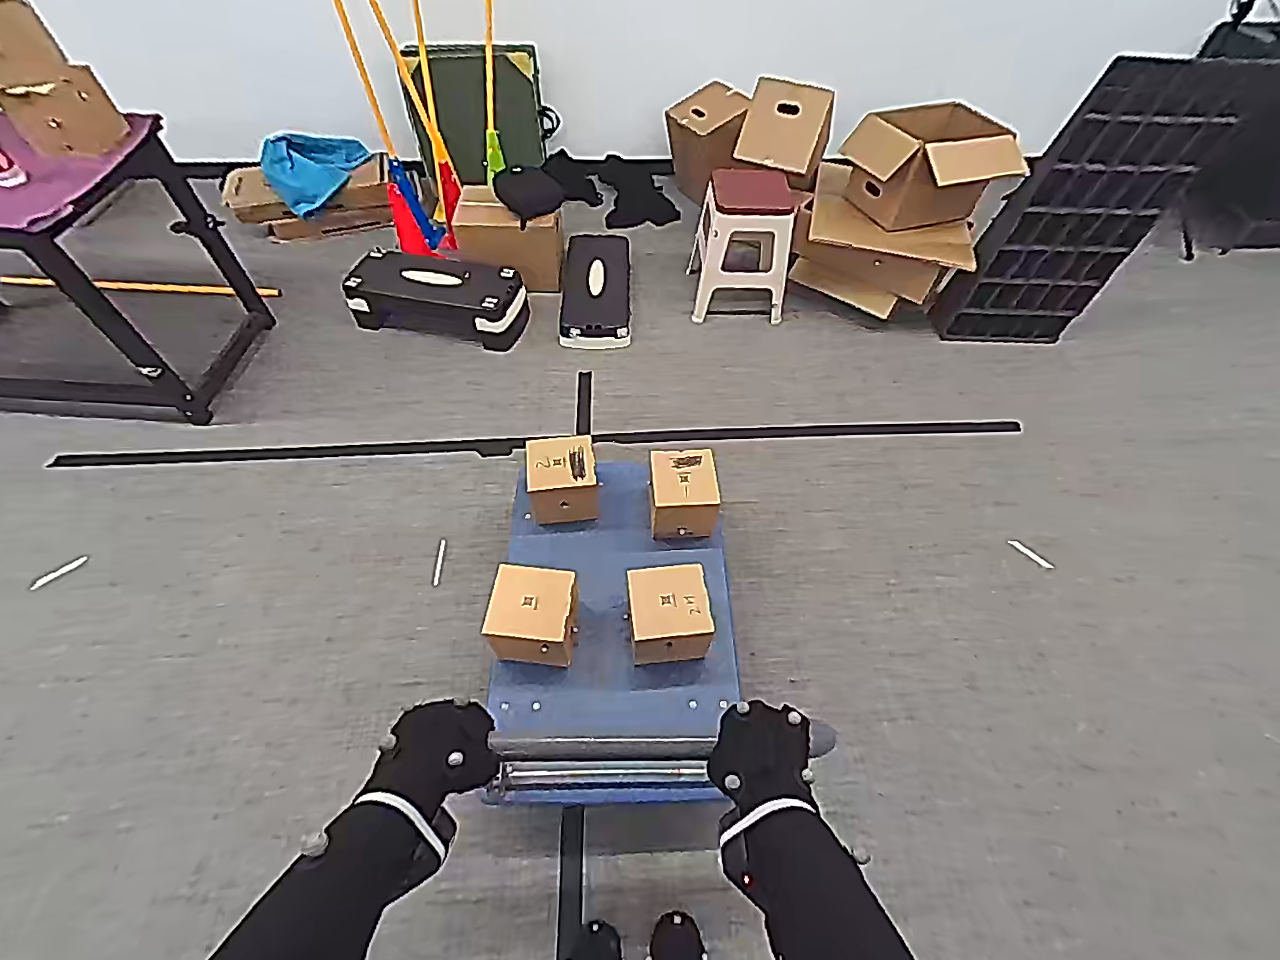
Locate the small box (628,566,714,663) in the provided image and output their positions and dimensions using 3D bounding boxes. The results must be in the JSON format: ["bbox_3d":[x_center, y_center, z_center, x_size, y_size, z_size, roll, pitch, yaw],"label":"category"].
[{"bbox_3d":[0.066,0.318,1.259,0.179,0.176,0.168,-4,55,-5],"label":"small box"}]

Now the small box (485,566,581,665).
[{"bbox_3d":[-0.238,0.316,1.250,0.179,0.176,0.168,6,54,1],"label":"small box"}]

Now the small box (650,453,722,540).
[{"bbox_3d":[0.117,0.045,1.456,0.168,0.176,0.179,-2,56,-3],"label":"small box"}]
